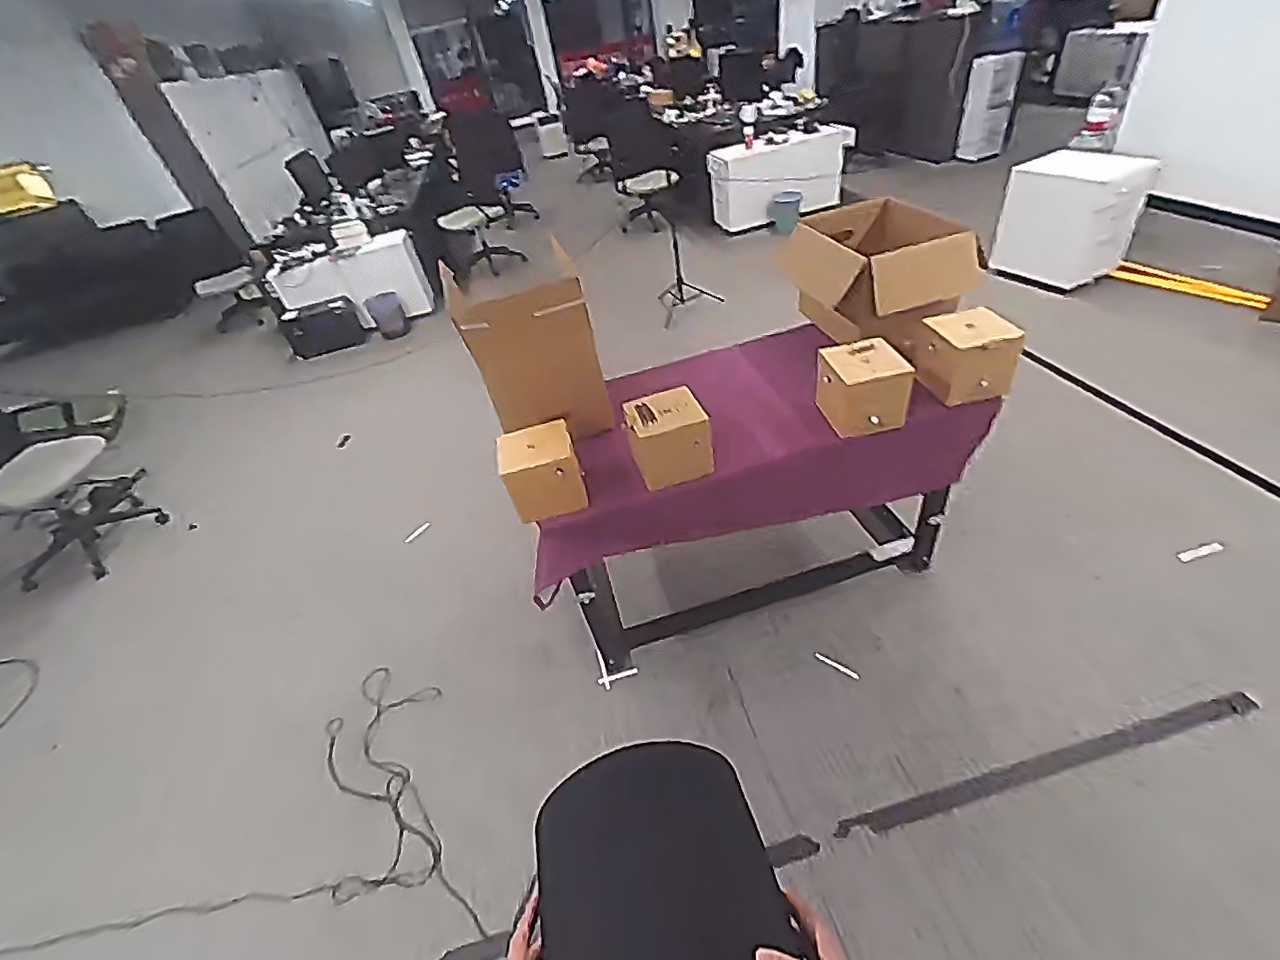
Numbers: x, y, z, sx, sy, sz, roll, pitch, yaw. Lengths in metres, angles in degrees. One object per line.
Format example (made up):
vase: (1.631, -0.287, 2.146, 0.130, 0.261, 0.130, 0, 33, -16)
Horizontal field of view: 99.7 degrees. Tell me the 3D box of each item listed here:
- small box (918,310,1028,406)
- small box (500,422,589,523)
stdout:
small box: (0.847, -0.315, 1.399, 0.168, 0.176, 0.179, -13, 40, 2)
small box: (-0.237, -0.015, 1.349, 0.179, 0.176, 0.168, -15, 40, -4)
